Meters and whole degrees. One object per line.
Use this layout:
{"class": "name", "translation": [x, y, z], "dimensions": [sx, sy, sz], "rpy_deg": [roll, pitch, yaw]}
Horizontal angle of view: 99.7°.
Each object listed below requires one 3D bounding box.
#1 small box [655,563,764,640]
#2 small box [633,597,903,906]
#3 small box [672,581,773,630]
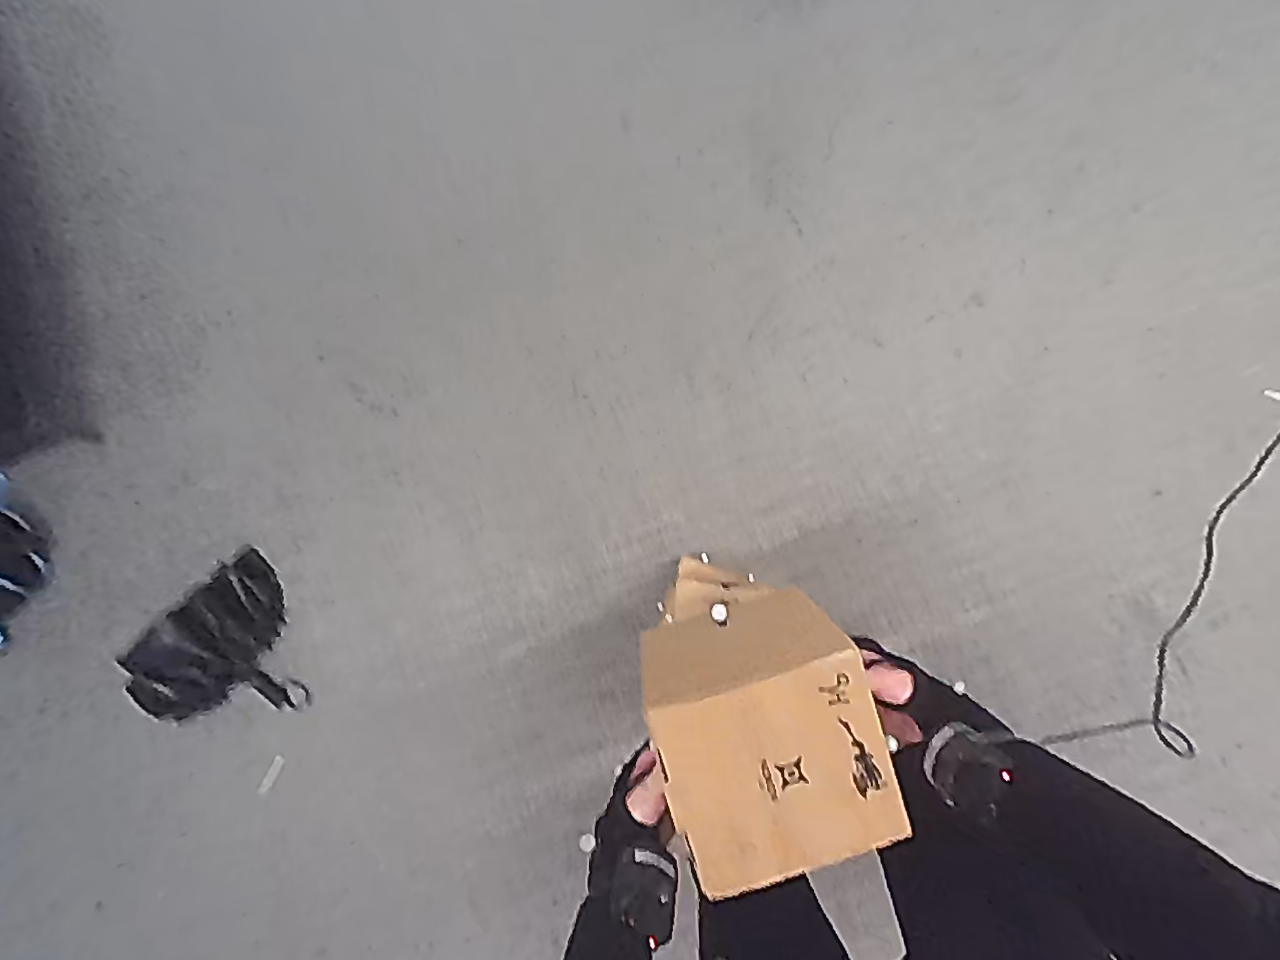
{"class": "small box", "translation": [0.145, 0.281, 1.138], "dimensions": [0.179, 0.176, 0.168], "rpy_deg": [19, 86, 8]}
{"class": "small box", "translation": [0.102, 0.228, 0.497], "dimensions": [0.179, 0.176, 0.168], "rpy_deg": [-18, 96, 2]}
{"class": "small box", "translation": [0.140, 0.282, 0.972], "dimensions": [0.168, 0.176, 0.179], "rpy_deg": [6, 85, 8]}
